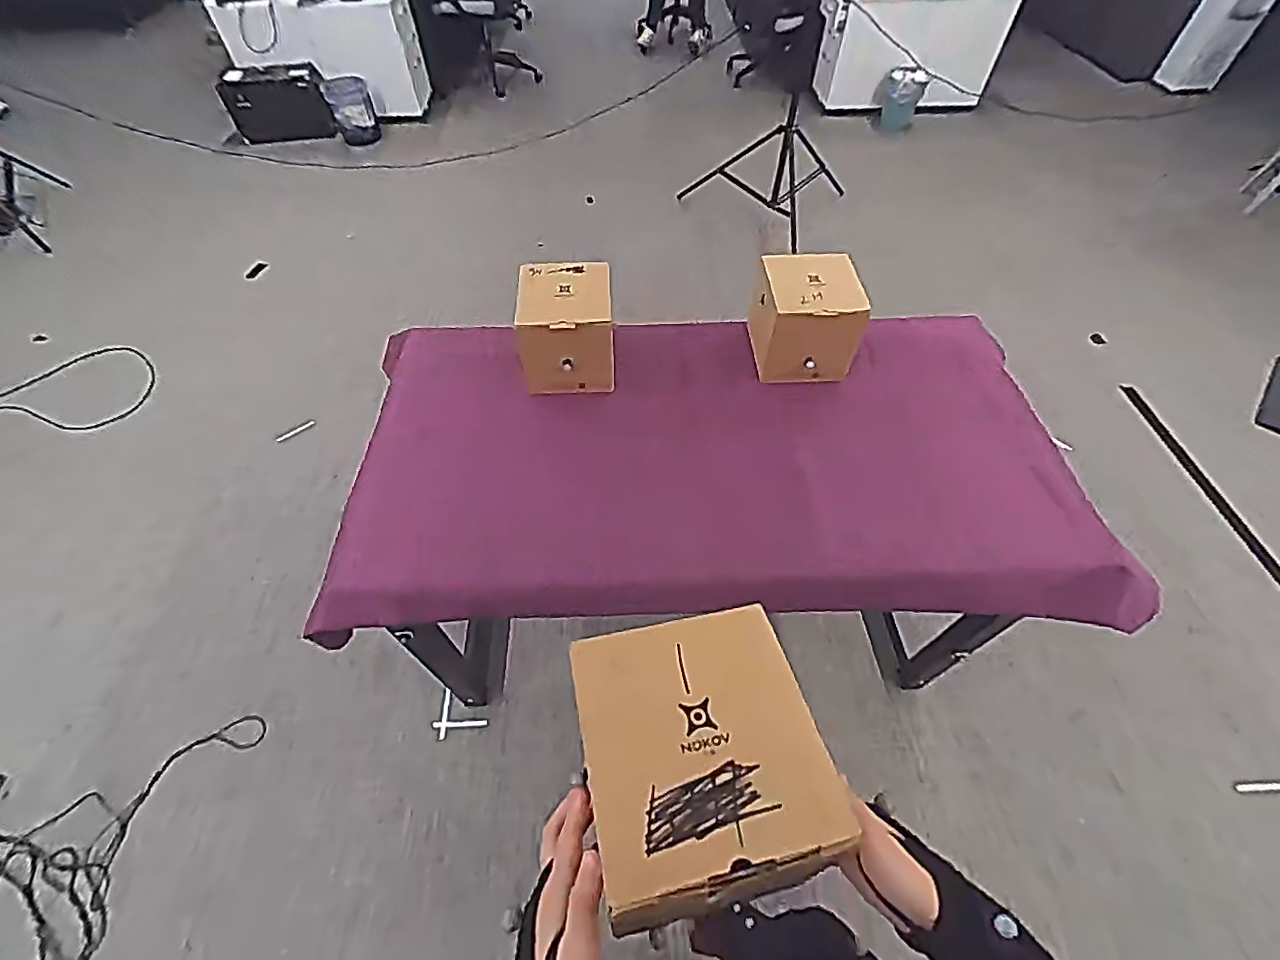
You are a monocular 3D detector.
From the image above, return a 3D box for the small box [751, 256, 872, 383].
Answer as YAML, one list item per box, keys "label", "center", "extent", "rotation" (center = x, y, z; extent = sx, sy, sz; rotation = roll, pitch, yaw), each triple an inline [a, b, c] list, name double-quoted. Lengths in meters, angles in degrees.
- label: "small box"
  center: [0.316, -0.306, 1.038]
  extent: [0.168, 0.176, 0.179]
  rotation: [-2, 55, 0]

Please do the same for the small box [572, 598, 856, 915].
- label: "small box"
  center: [0.043, 0.228, 0.444]
  extent: [0.168, 0.176, 0.179]
  rotation: [-9, 45, -10]

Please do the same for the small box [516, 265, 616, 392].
- label: "small box"
  center: [-0.131, -0.280, 1.022]
  extent: [0.168, 0.176, 0.179]
  rotation: [-2, 56, -2]
